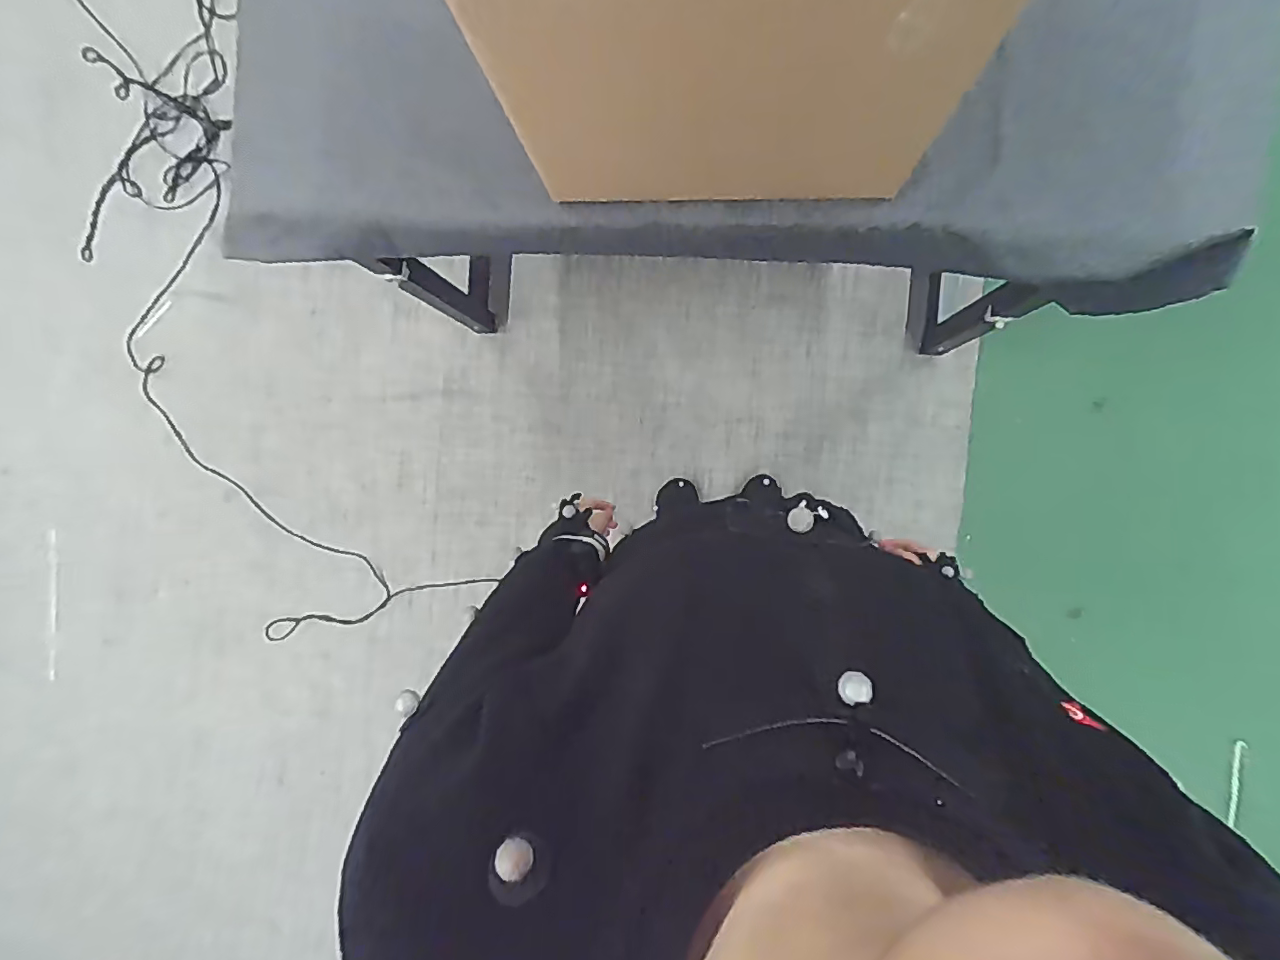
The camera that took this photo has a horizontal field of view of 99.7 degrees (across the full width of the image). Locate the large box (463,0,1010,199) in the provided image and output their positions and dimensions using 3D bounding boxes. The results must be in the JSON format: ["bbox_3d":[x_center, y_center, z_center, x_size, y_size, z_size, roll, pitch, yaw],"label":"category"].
[{"bbox_3d":[0.079,-0.490,0.493,0.408,0.320,0.320,2,90,6],"label":"large box"}]
